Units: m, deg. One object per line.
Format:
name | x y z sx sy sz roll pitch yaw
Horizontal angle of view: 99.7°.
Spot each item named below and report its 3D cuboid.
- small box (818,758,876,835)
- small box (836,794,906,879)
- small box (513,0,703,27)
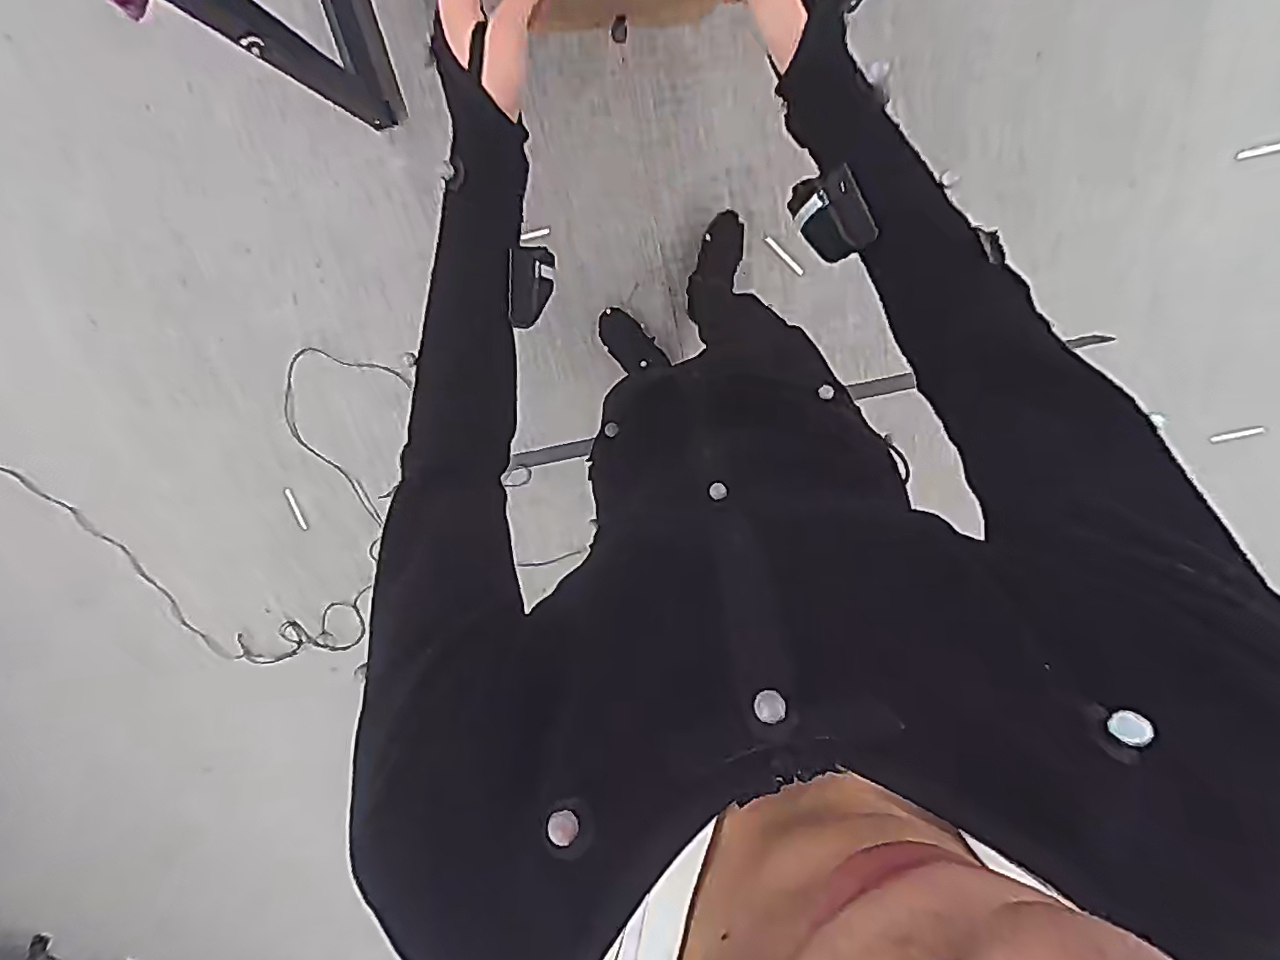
small box | 0.801 1.207 2.069 0.168 0.176 0.179 -18 110 4
small box | 0.814 1.257 1.913 0.168 0.176 0.179 -17 109 3
small box | -0.022 -0.468 0.407 0.179 0.176 0.168 -8 120 -4
